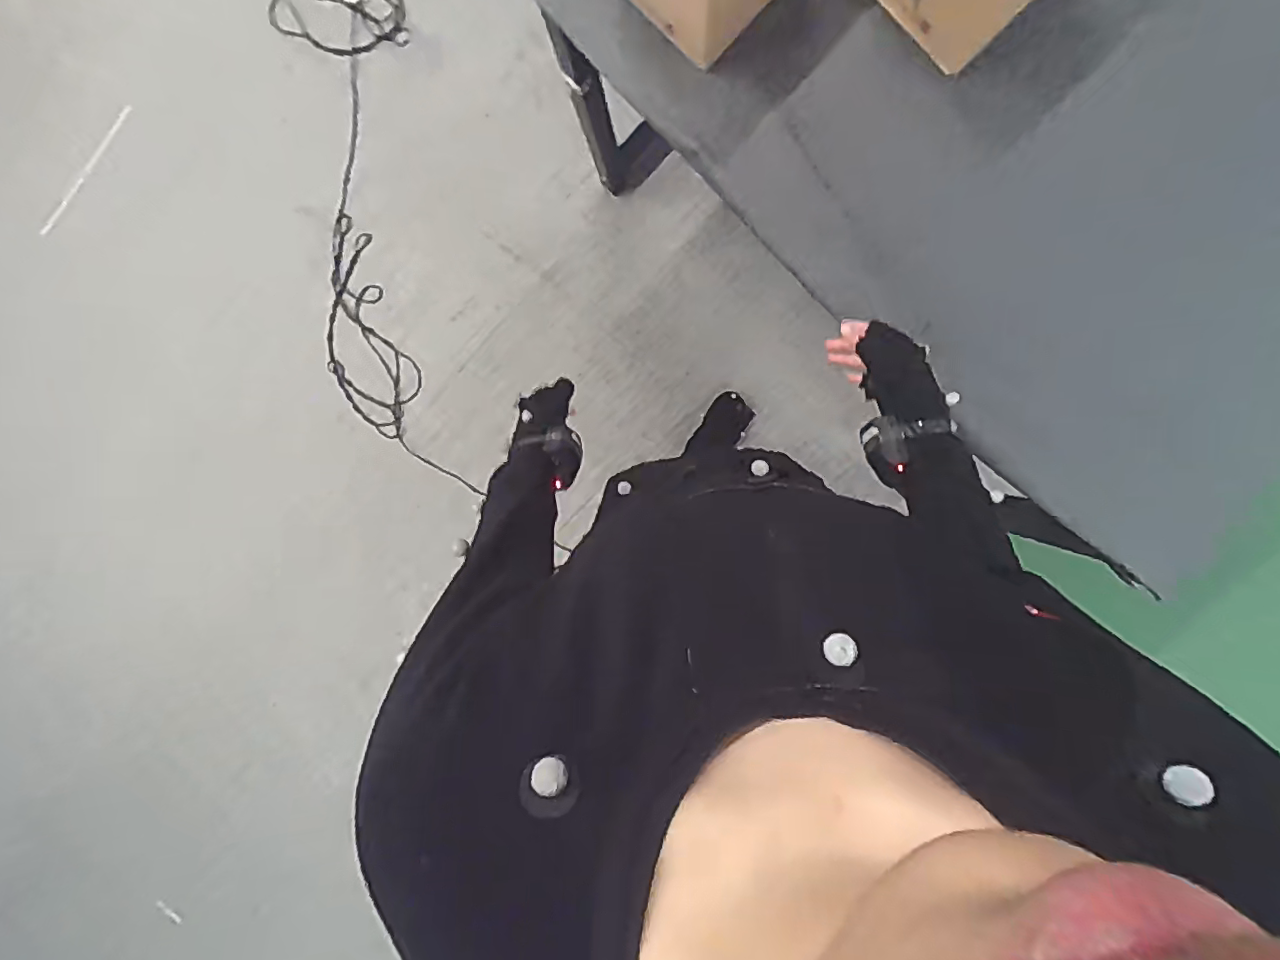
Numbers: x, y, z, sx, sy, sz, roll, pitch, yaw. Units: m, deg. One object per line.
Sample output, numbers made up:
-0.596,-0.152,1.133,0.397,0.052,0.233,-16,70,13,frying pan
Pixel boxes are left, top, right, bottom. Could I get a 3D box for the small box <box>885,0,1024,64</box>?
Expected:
0.381,-0.613,0.573,0.179,0.176,0.168,-43,91,8,small box
